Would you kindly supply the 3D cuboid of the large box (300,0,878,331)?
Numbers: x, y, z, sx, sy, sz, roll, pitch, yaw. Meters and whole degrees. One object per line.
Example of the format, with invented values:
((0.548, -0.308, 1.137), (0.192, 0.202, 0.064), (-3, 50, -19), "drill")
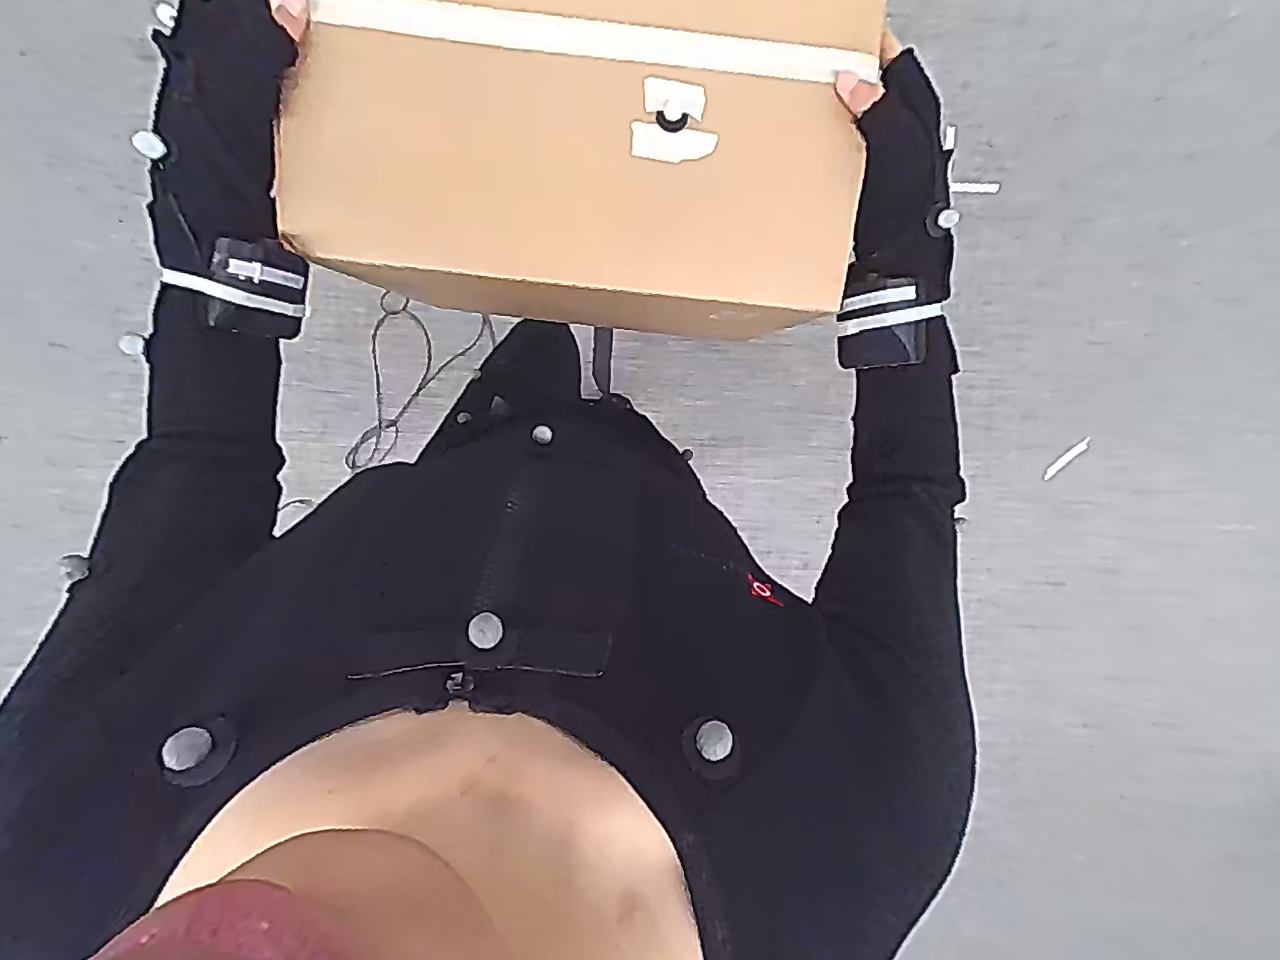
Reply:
((-0.041, -0.331, 0.526), (0.408, 0.320, 0.320), (5, 101, -3), "large box")
